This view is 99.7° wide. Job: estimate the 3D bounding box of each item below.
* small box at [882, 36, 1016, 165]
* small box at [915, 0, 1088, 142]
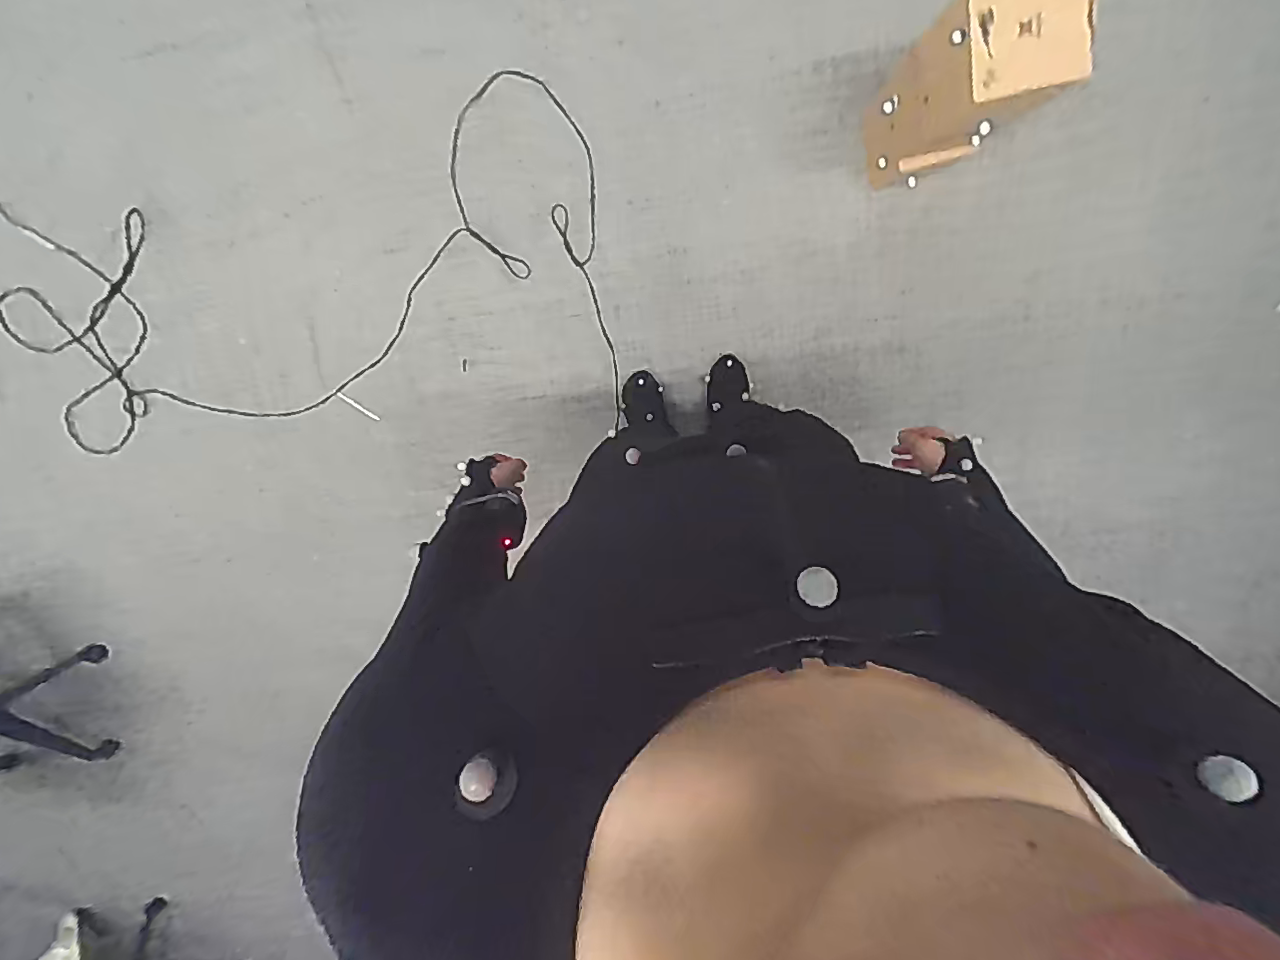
[{"bbox_3d":[0.590,-0.734,1.040,0.179,0.176,0.168,-10,104,6],"label":"small box"},{"bbox_3d":[0.580,-0.684,0.884,0.179,0.176,0.168,-10,104,4],"label":"small box"}]
